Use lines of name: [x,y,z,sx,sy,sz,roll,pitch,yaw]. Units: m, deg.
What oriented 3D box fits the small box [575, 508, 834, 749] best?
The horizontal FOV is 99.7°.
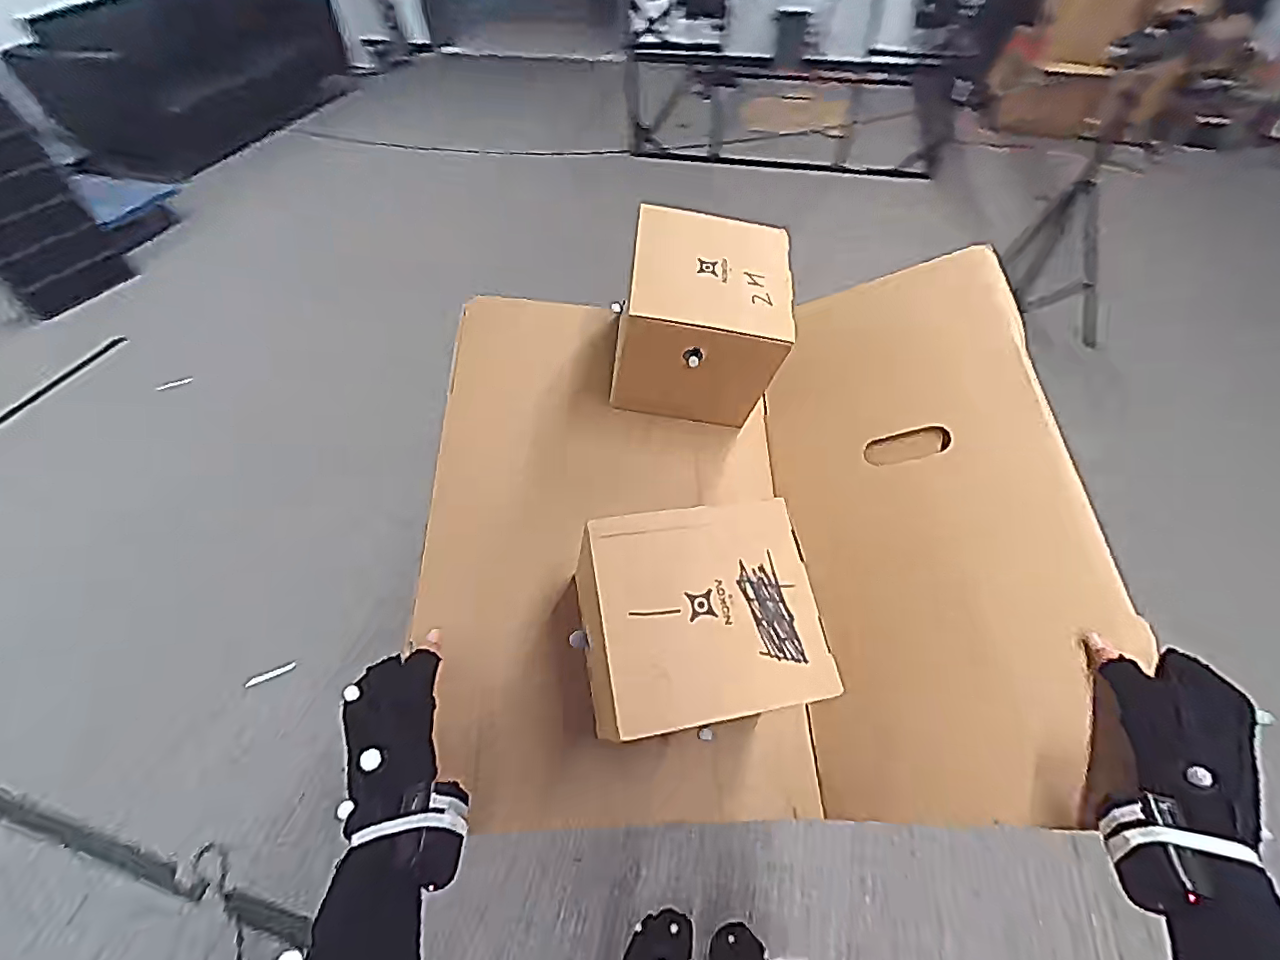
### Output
small box: [0.040,0.140,0.501,0.179,0.176,0.168,-7,66,-13]
